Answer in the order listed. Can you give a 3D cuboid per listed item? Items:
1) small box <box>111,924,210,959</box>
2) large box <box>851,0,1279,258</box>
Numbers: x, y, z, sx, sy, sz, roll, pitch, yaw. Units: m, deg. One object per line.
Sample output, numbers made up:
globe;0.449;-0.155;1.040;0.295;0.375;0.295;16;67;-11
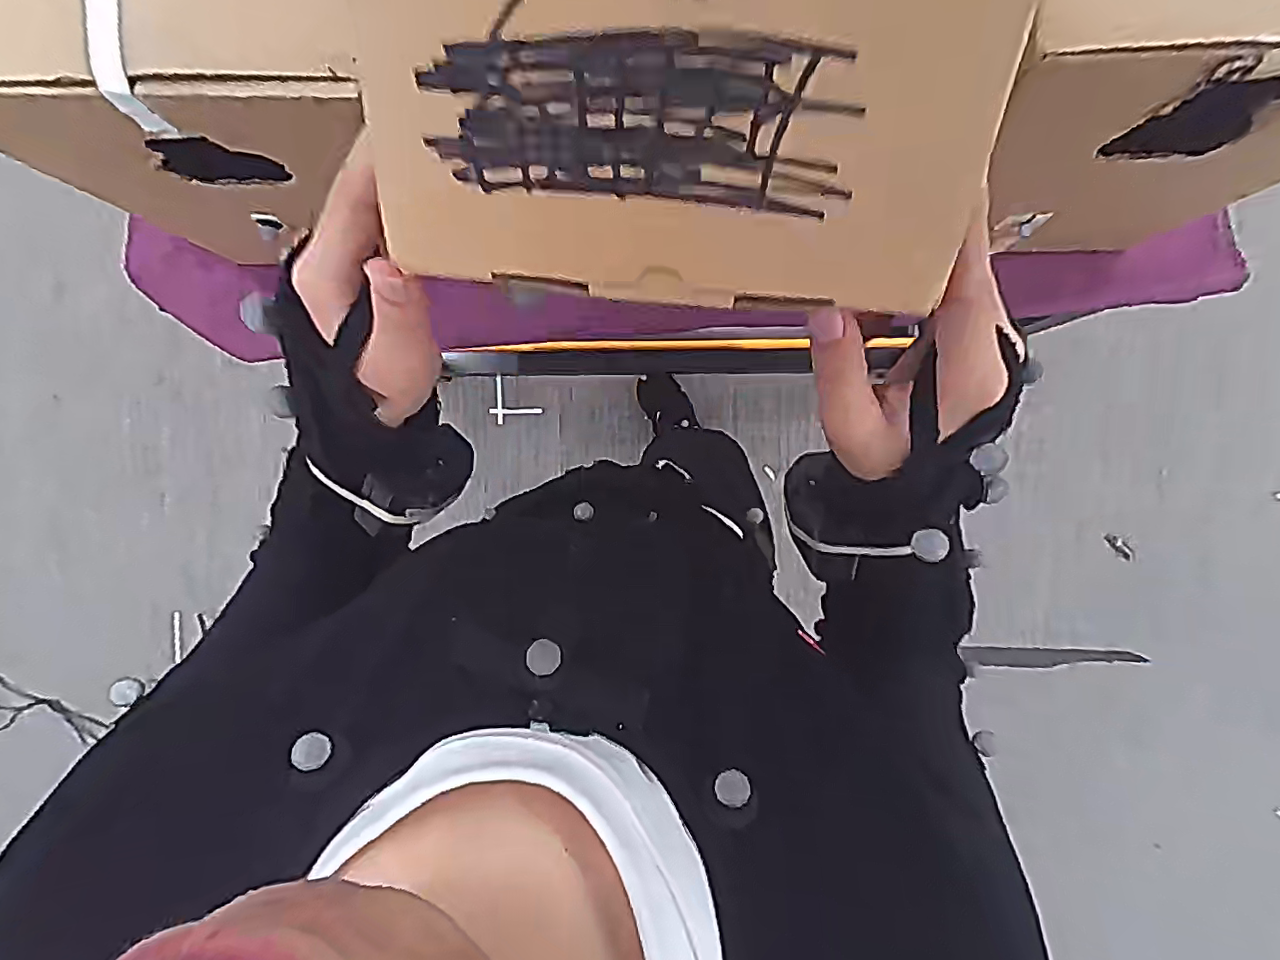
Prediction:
small box;-1.249;1.284;1.378;0.179;0.176;0.168;-6;93;1
large box;0.383;-0.448;0.454;0.320;0.320;0.408;-1;91;1
